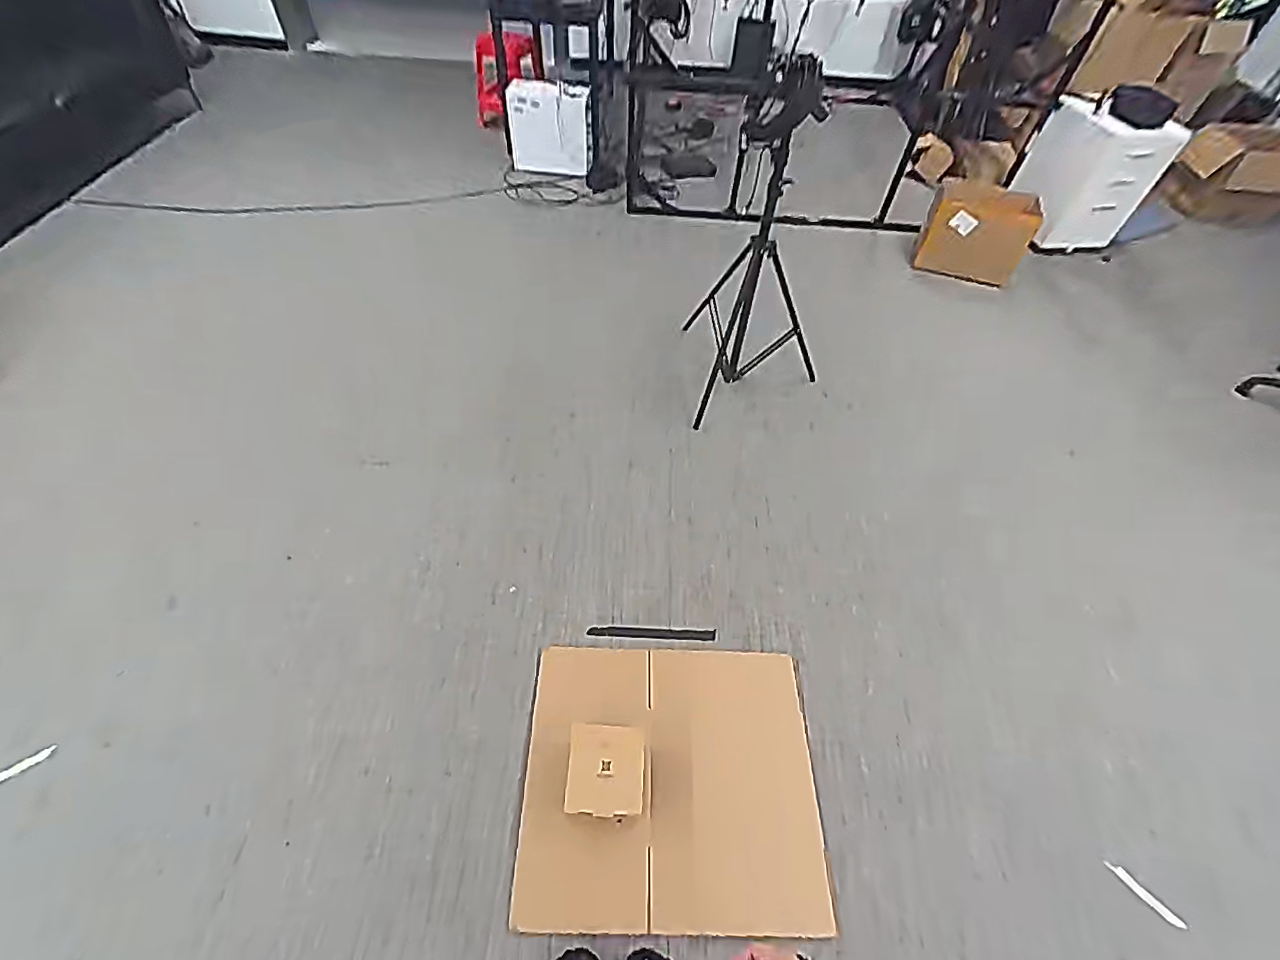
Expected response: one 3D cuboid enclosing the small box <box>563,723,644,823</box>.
[{"bbox_3d":[-0.080,0.672,1.232,0.168,0.176,0.179,4,52,-2],"label":"small box"}]
